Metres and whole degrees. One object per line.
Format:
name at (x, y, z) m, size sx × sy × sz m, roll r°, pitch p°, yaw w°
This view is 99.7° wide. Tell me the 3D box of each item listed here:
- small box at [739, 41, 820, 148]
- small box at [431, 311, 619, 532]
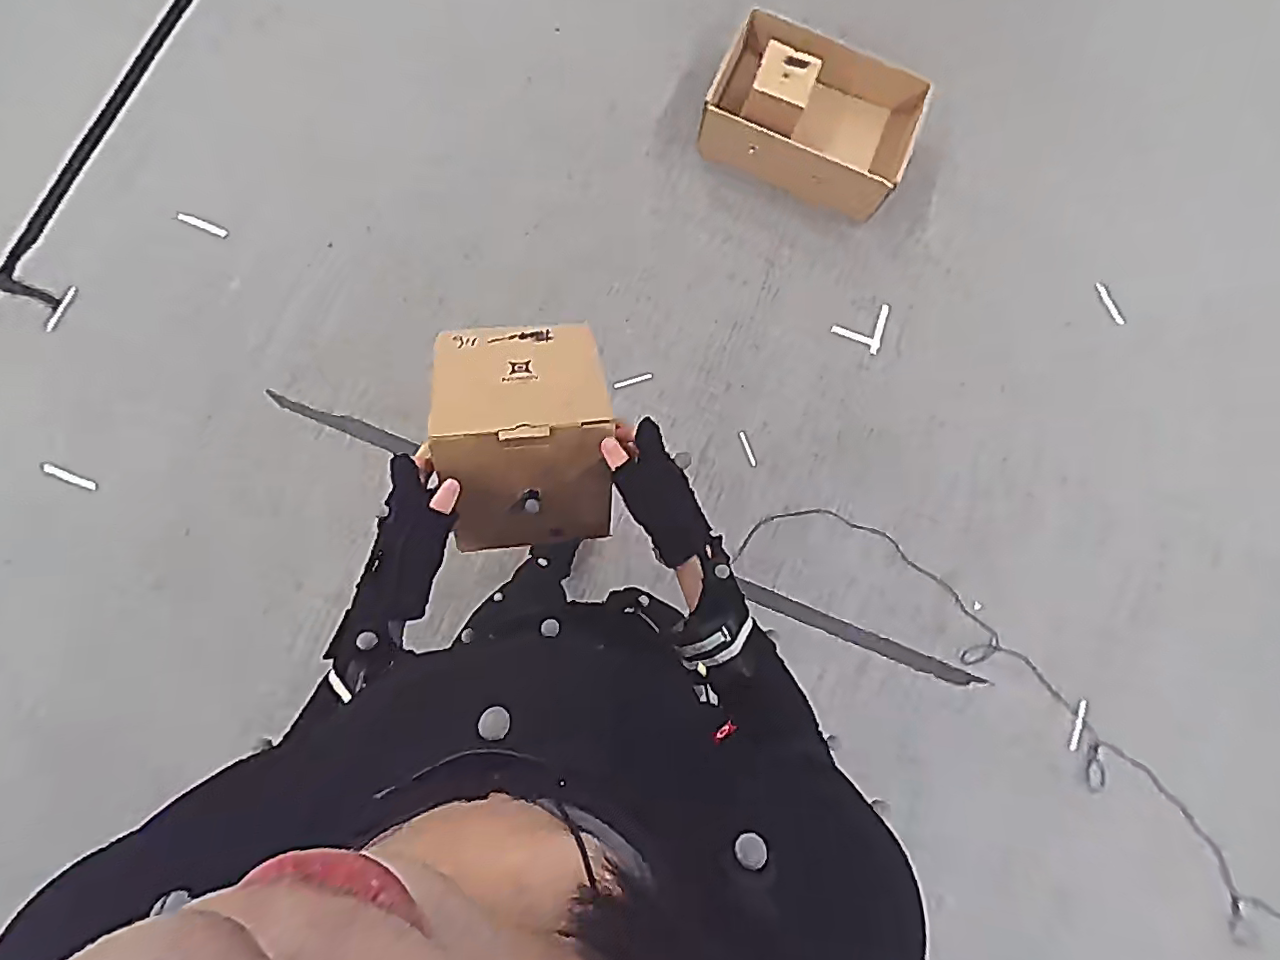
small box at (0.419, -1.171, 1.652) m, size 0.168 × 0.176 × 0.179 m, roll 21°, pitch 80°, yaw -1°
small box at (-0.115, -0.057, 0.579) m, size 0.168 × 0.176 × 0.179 m, roll -5°, pitch 49°, yaw -10°
